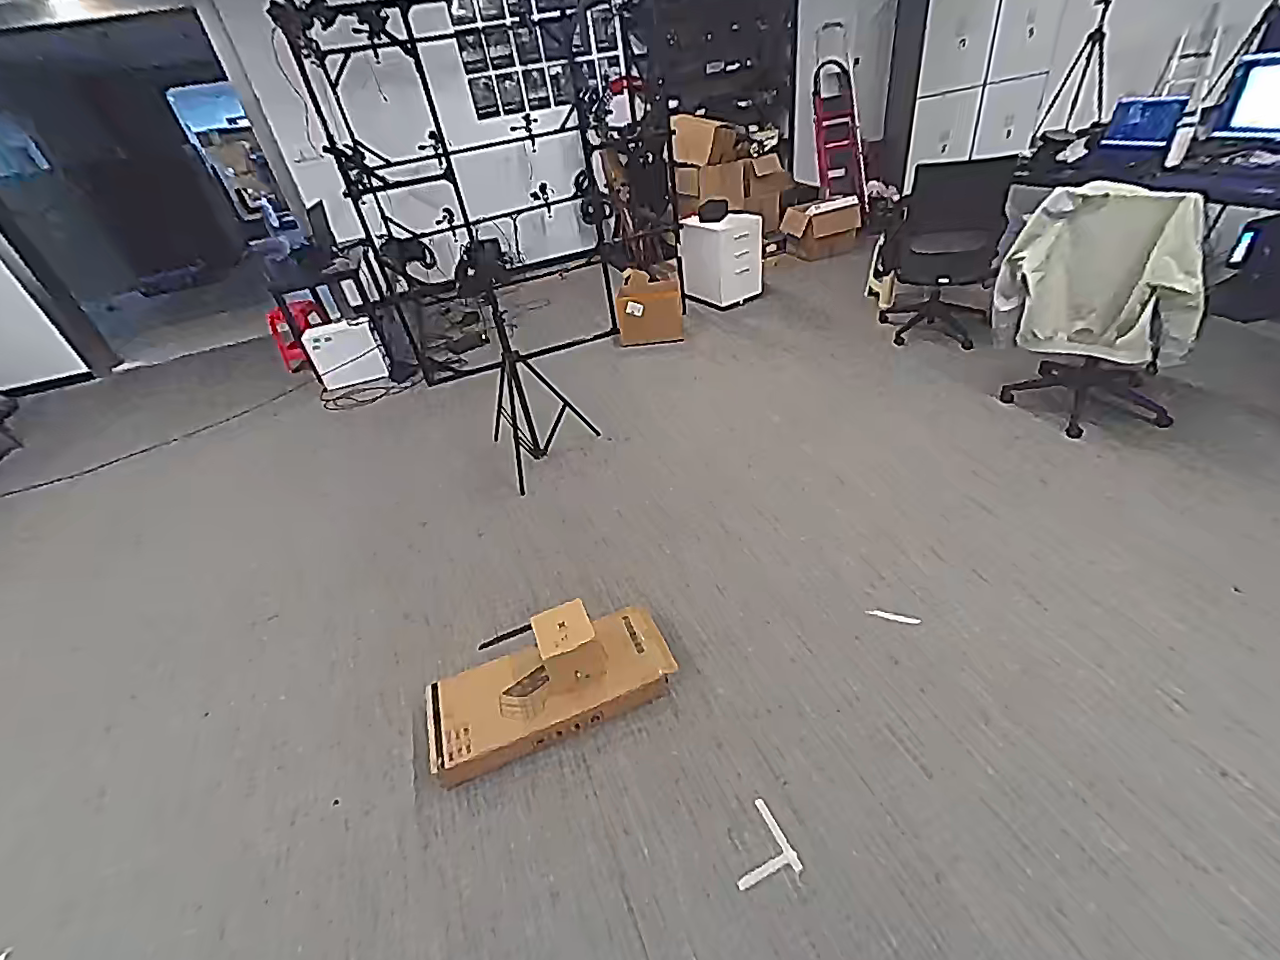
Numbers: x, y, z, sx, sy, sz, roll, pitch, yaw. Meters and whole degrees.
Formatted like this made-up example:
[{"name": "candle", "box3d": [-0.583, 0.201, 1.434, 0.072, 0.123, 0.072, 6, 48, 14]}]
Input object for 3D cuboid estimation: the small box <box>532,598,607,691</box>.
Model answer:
[{"name": "small box", "box3d": [-0.214, 0.501, 1.645, 0.168, 0.176, 0.179, -20, 37, -13]}]
